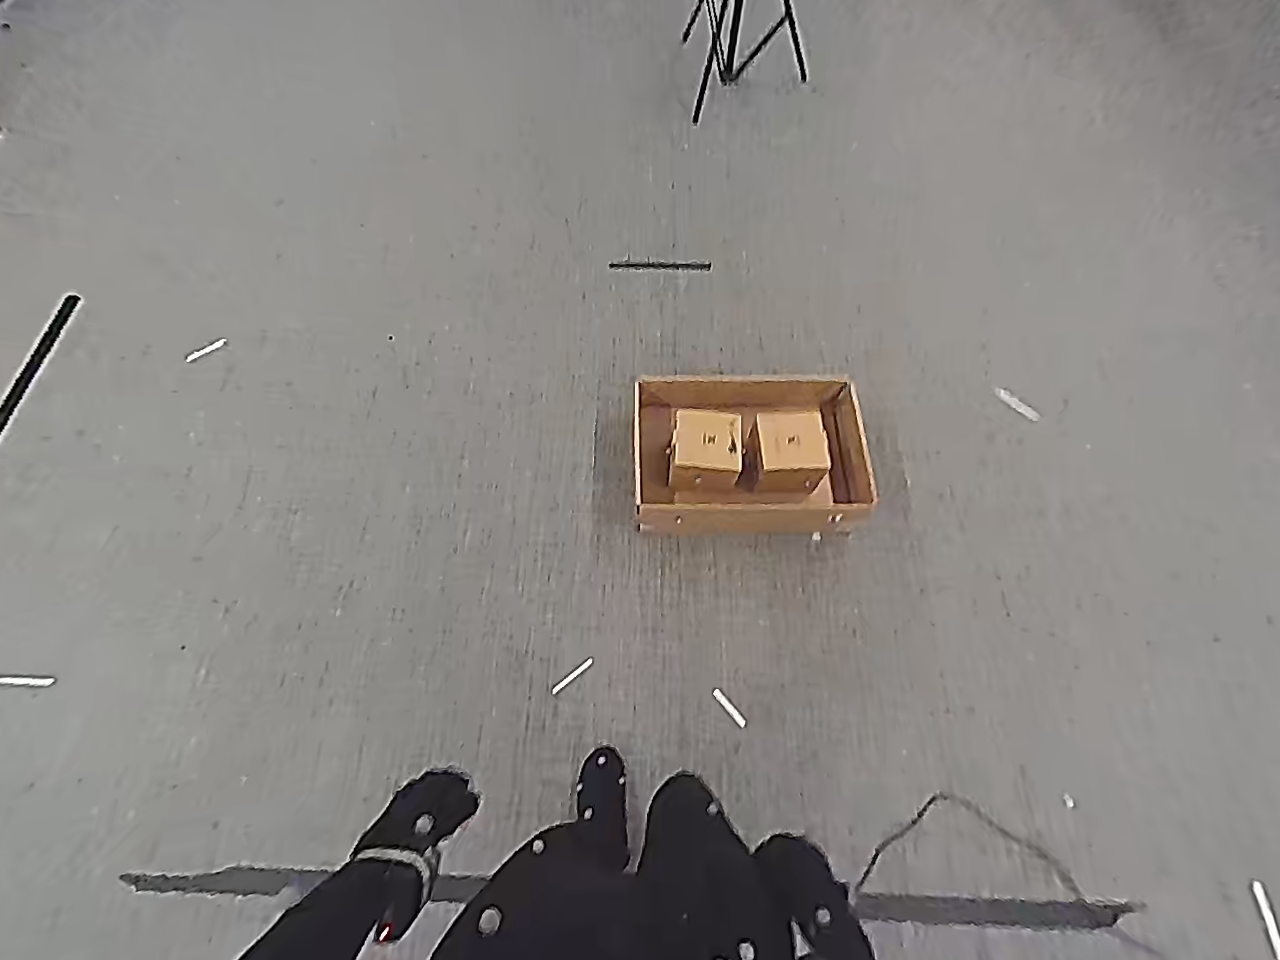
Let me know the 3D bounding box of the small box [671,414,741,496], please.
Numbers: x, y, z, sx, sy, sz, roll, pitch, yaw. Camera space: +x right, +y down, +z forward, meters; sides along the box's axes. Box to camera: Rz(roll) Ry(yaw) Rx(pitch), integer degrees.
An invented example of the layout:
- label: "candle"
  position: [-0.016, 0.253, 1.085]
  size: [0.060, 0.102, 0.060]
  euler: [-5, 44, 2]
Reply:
- label: "small box"
  position: [0.177, -0.064, 1.482]
  size: [0.179, 0.176, 0.168]
  euler: [4, 66, 1]

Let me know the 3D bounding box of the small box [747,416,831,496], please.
- label: "small box"
  position: [0.402, -0.064, 1.487]
  size: [0.179, 0.176, 0.168]
  euler: [-2, 65, 0]
